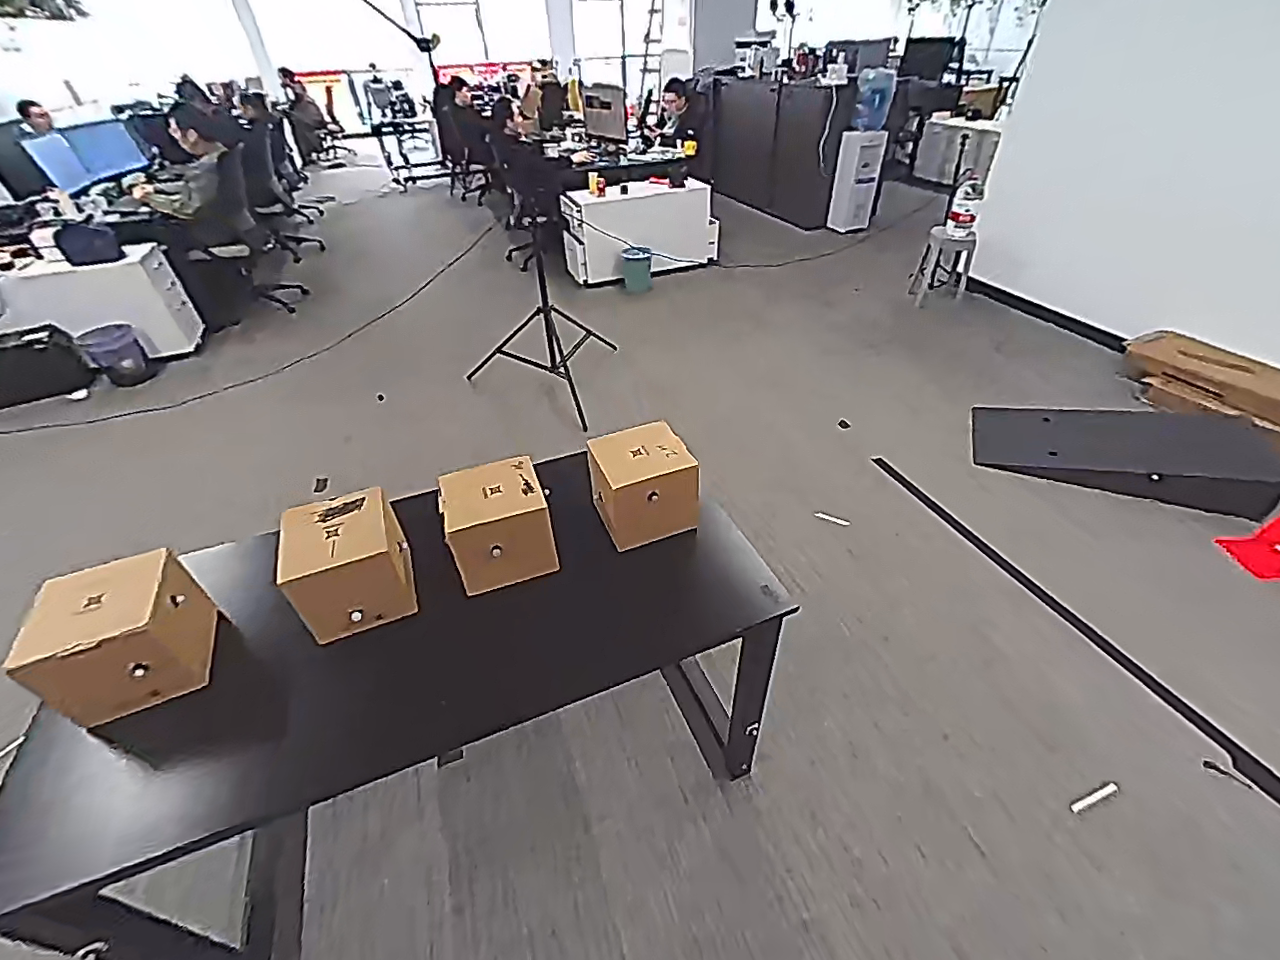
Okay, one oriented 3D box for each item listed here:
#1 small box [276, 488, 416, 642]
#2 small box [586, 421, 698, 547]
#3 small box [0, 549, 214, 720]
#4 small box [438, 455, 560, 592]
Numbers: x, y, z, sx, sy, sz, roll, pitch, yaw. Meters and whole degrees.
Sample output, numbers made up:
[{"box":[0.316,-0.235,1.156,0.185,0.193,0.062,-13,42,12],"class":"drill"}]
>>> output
[{"box":[-0.506,0.147,0.950,0.168,0.176,0.179,-17,43,-17],"class":"small box"},{"box":[0.006,0.010,1.087,0.179,0.176,0.168,-16,42,-15],"class":"small box"},{"box":[-0.807,0.246,0.847,0.168,0.176,0.179,-18,41,-20],"class":"small box"},{"box":[-0.263,0.084,1.016,0.179,0.176,0.168,-16,41,-14],"class":"small box"}]
